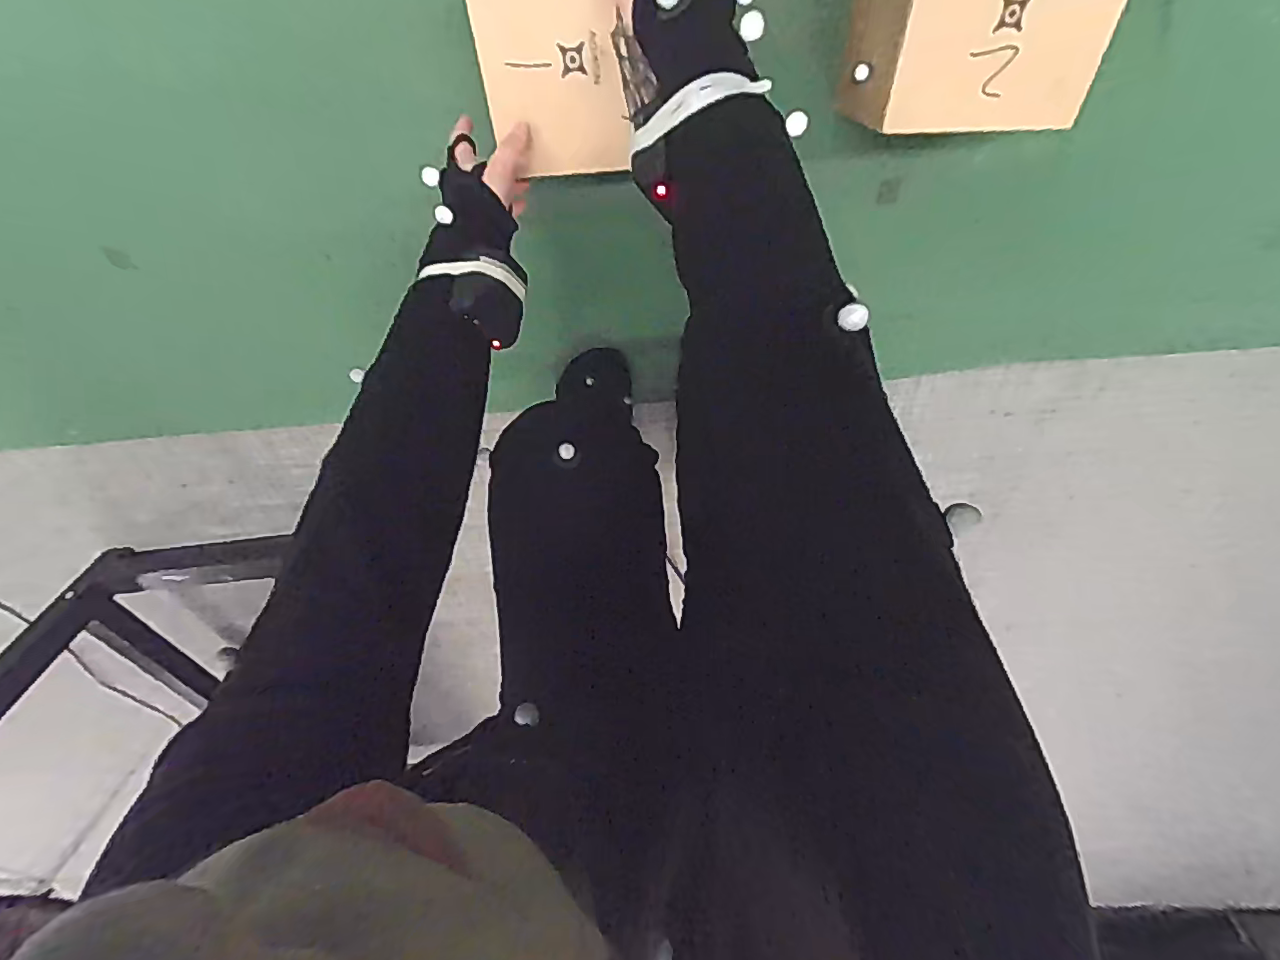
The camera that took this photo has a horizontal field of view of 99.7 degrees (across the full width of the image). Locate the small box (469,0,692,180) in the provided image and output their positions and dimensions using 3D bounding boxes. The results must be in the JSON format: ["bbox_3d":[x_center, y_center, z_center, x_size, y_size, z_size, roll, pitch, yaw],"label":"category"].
[{"bbox_3d":[-0.043,-0.397,0.509,0.179,0.176,0.168,-1,130,5],"label":"small box"}]
